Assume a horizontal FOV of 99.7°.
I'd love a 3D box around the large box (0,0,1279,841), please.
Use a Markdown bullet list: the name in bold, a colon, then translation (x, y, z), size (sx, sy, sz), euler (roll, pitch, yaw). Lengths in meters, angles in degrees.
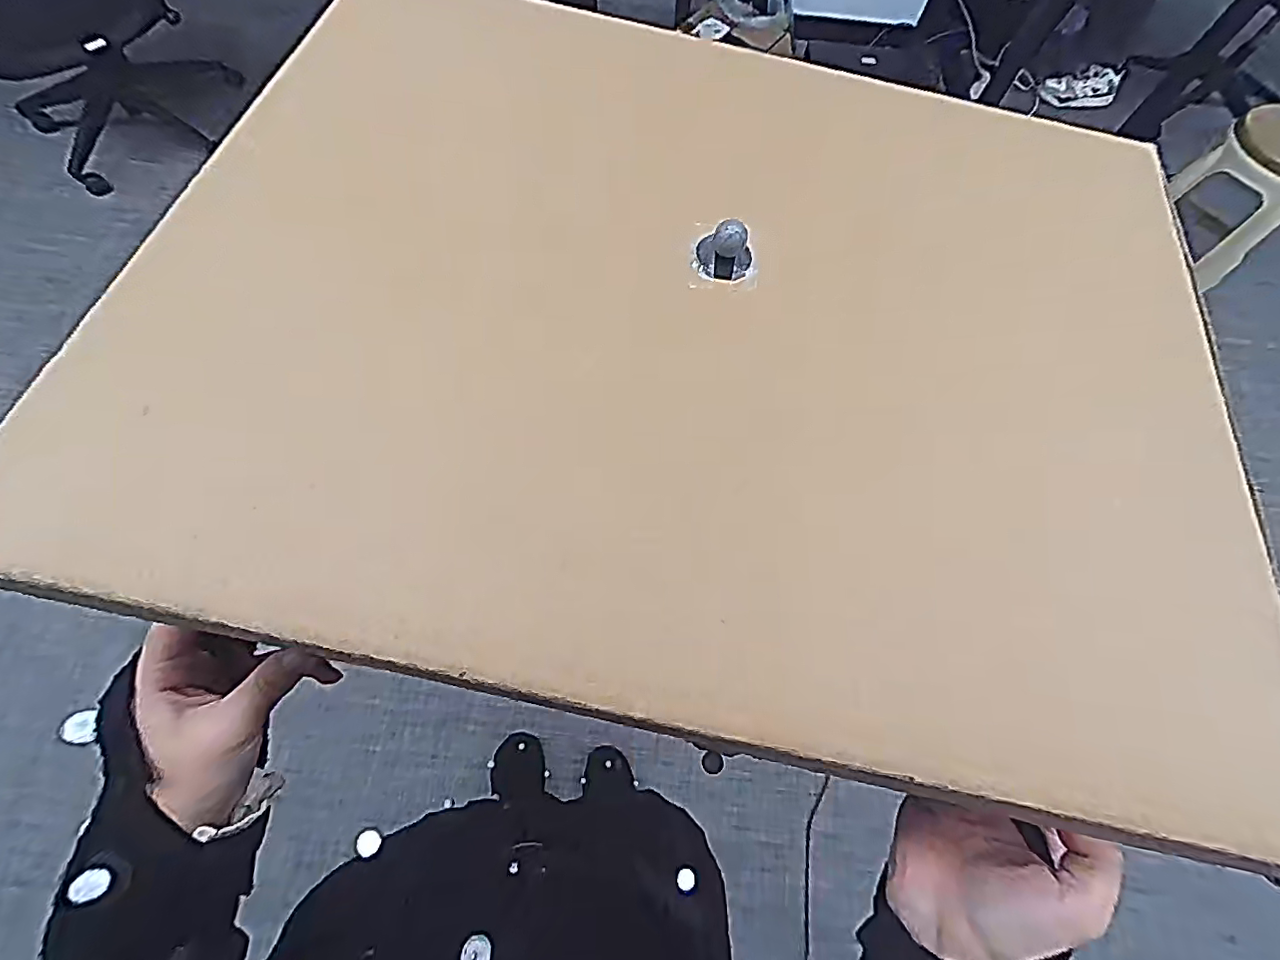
- **large box**: translation (0.002, -0.020, 0.341), size (0.408, 0.320, 0.320), euler (12, 67, 0)
